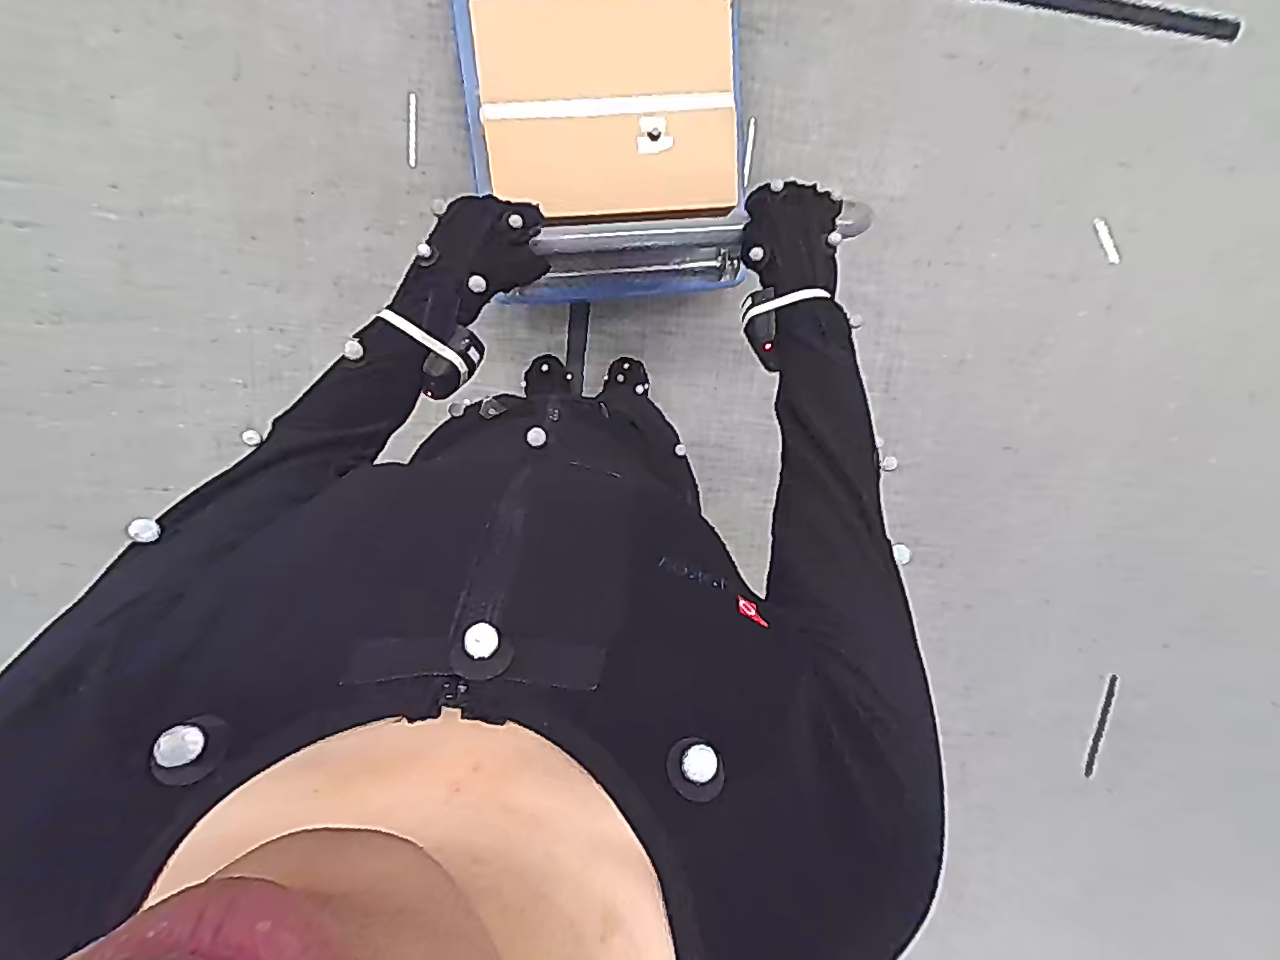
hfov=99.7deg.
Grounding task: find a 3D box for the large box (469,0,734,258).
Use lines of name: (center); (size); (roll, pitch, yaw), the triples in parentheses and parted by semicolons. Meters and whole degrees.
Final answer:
large box: (-0.066, -0.616, 1.005); (0.408, 0.320, 0.320); (-6, 104, -5)
